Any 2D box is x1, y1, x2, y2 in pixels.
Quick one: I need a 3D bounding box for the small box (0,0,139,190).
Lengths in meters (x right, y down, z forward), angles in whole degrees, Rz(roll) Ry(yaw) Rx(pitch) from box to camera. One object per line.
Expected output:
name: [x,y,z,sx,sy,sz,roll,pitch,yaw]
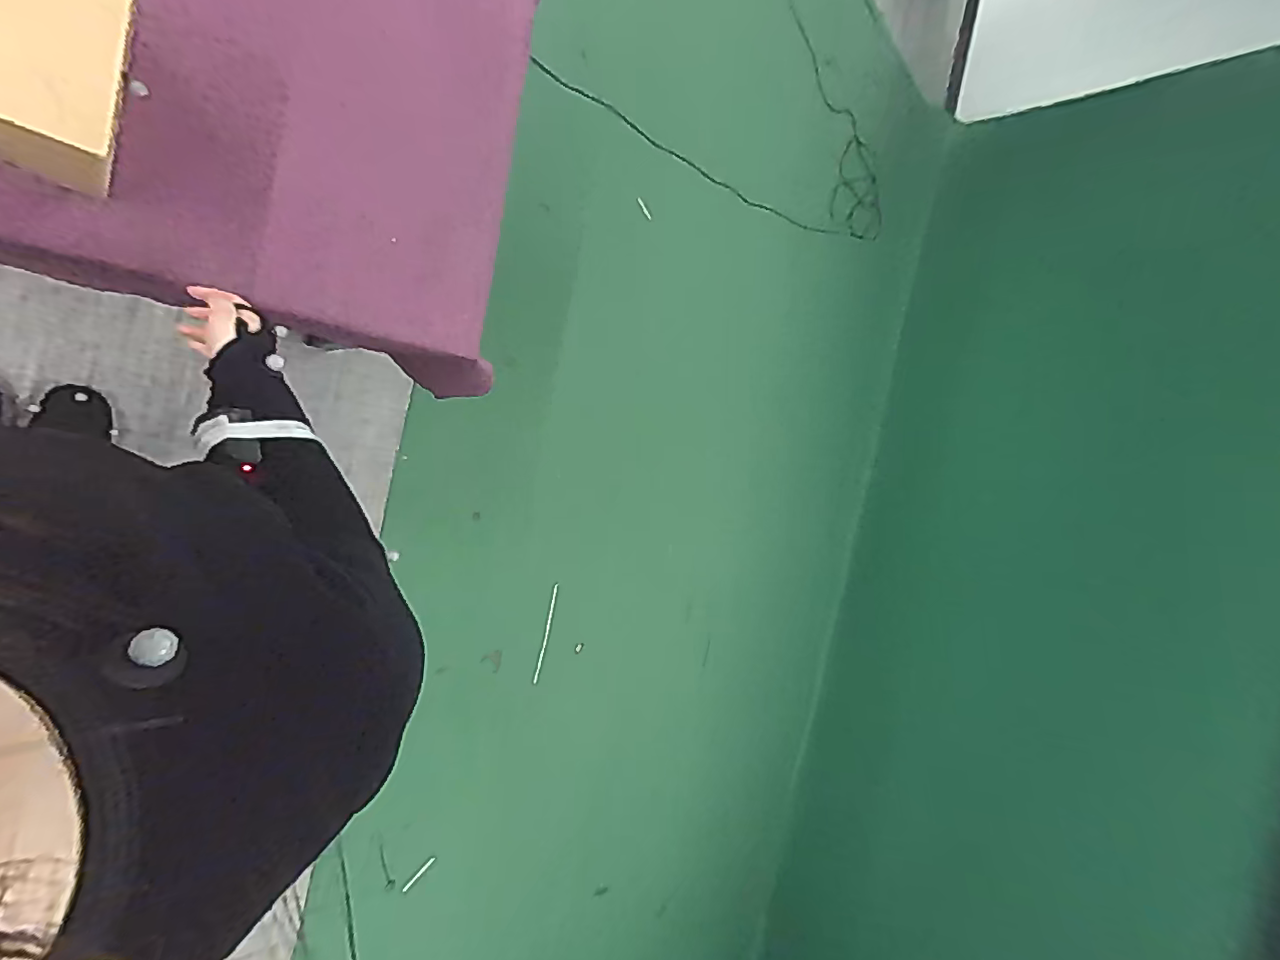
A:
small box: [-0.514,-0.359,0.421,0.168,0.176,0.179,10,92,-46]
